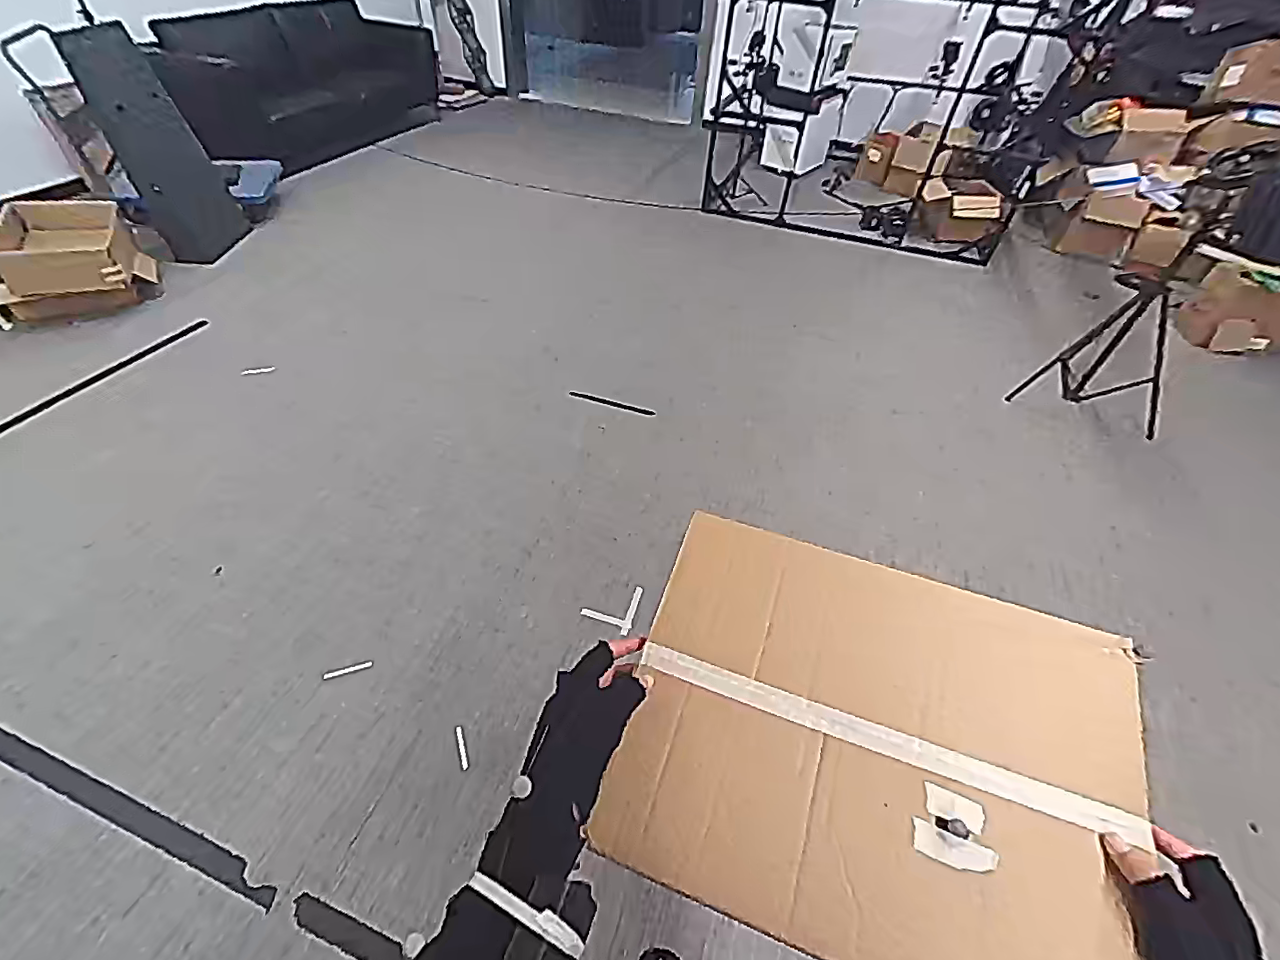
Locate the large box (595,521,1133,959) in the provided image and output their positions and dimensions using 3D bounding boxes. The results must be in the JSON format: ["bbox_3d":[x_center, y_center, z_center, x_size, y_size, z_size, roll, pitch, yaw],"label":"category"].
[{"bbox_3d":[0.204,0.294,0.598,0.408,0.320,0.320,17,62,13],"label":"large box"}]
